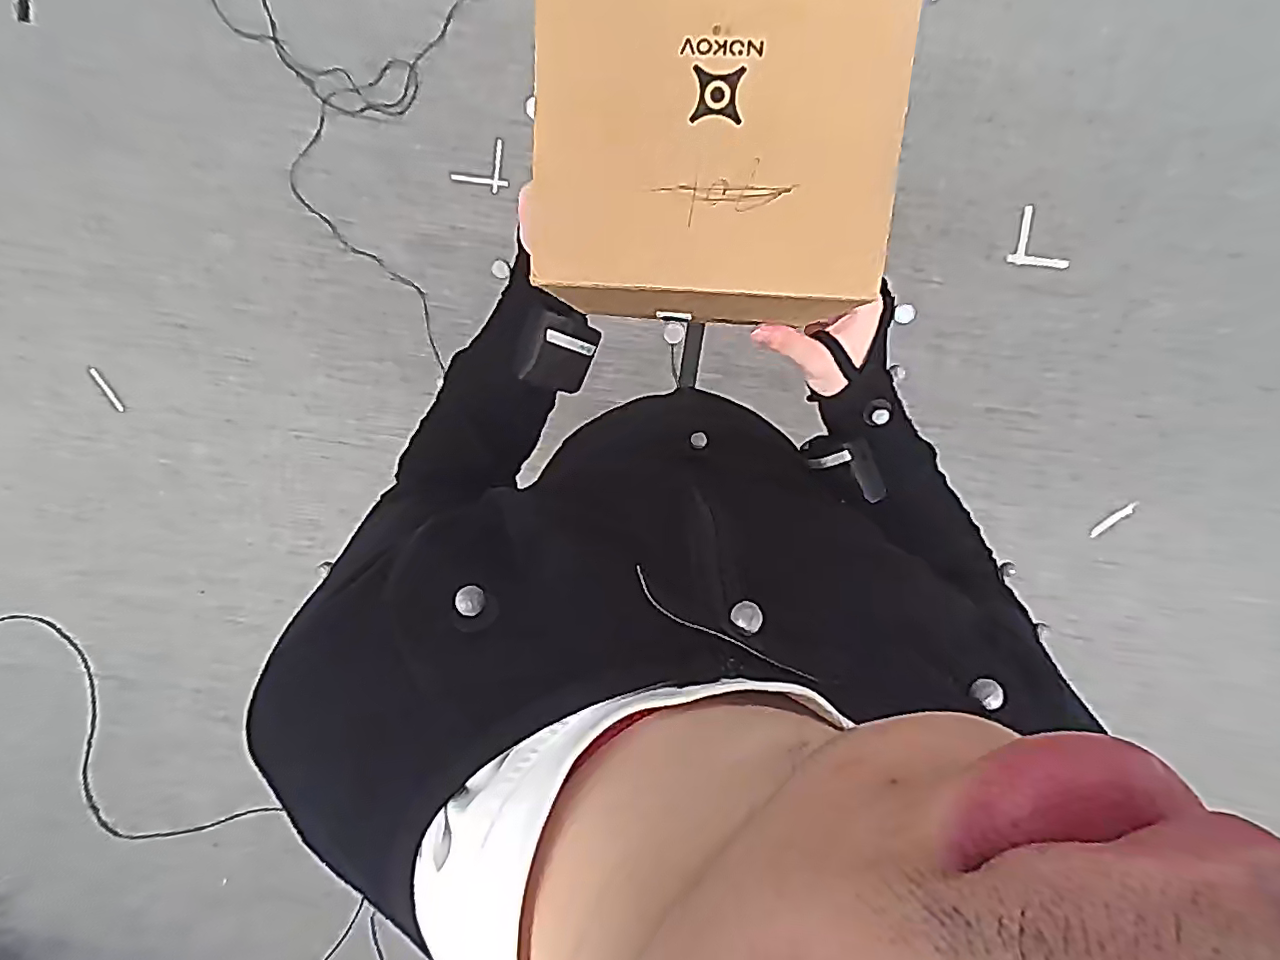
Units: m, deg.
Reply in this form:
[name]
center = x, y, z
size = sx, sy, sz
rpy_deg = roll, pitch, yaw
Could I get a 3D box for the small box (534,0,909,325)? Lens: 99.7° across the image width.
[small box]
center = 0.039, -0.195, 0.326
size = 0.168, 0.176, 0.179
rpy_deg = 4, 102, 4
